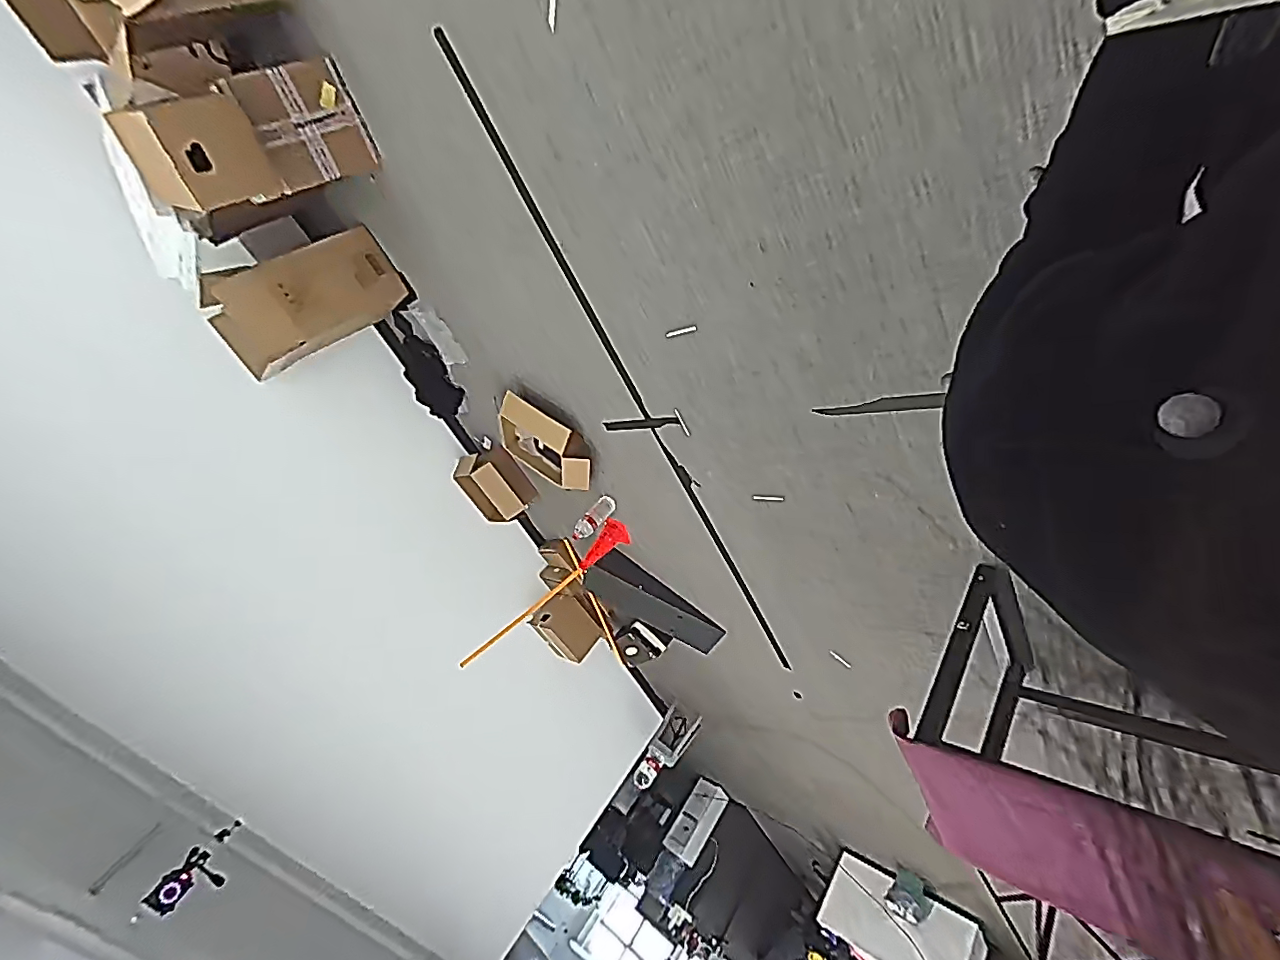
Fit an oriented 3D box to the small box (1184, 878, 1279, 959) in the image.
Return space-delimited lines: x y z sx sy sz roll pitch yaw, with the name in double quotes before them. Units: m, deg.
"small box" 1.163 0.920 1.034 0.168 0.176 0.179 3 131 45
